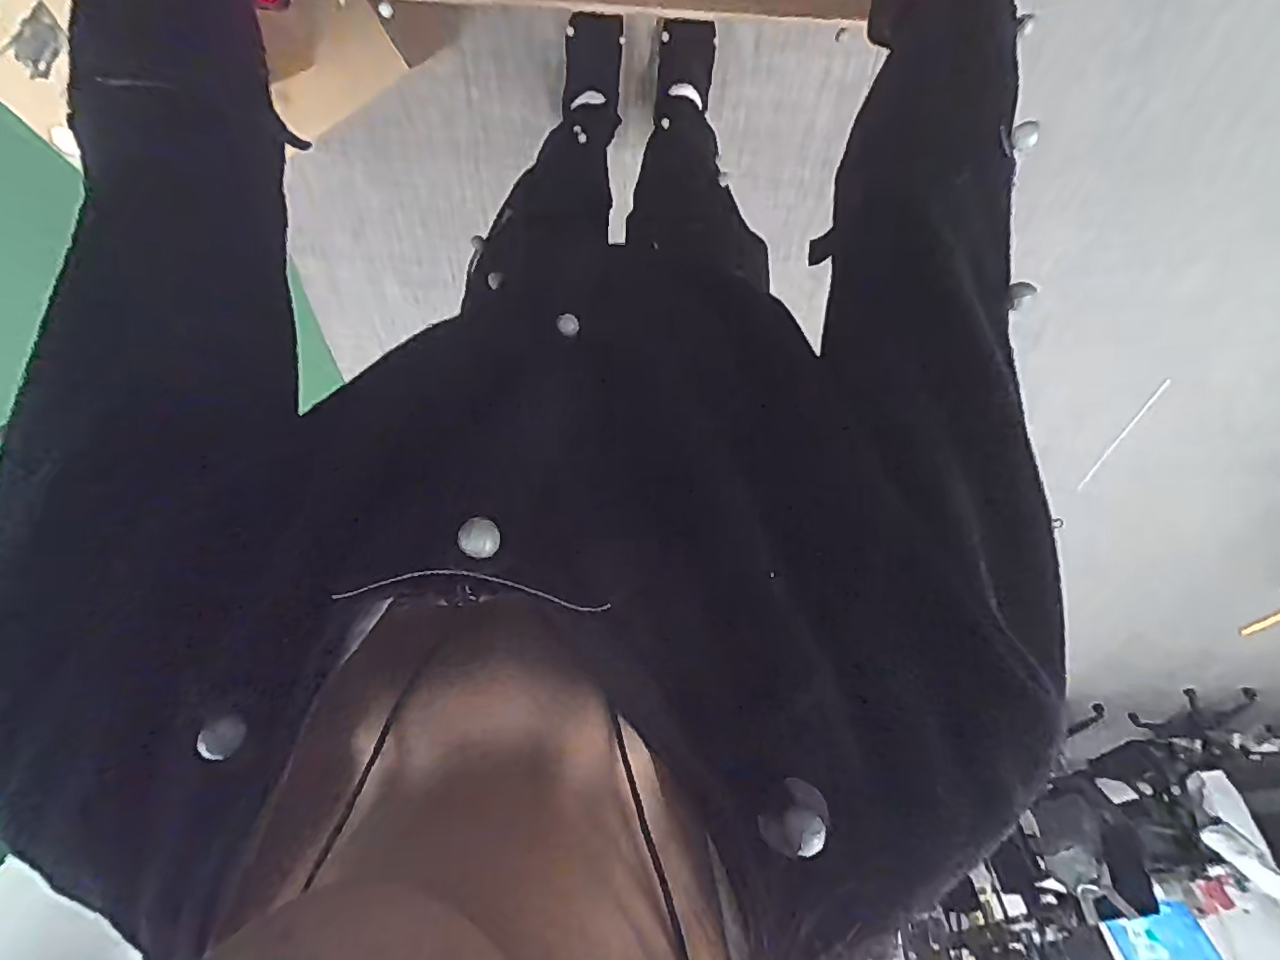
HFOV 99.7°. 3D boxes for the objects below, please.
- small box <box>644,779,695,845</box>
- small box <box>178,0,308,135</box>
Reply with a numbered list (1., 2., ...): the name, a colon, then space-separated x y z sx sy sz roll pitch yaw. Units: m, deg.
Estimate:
1. small box: 0.103 1.198 1.948 0.168 0.176 0.179 2 135 -2
2. small box: -0.620 -0.598 0.758 0.168 0.176 0.179 -23 132 21
